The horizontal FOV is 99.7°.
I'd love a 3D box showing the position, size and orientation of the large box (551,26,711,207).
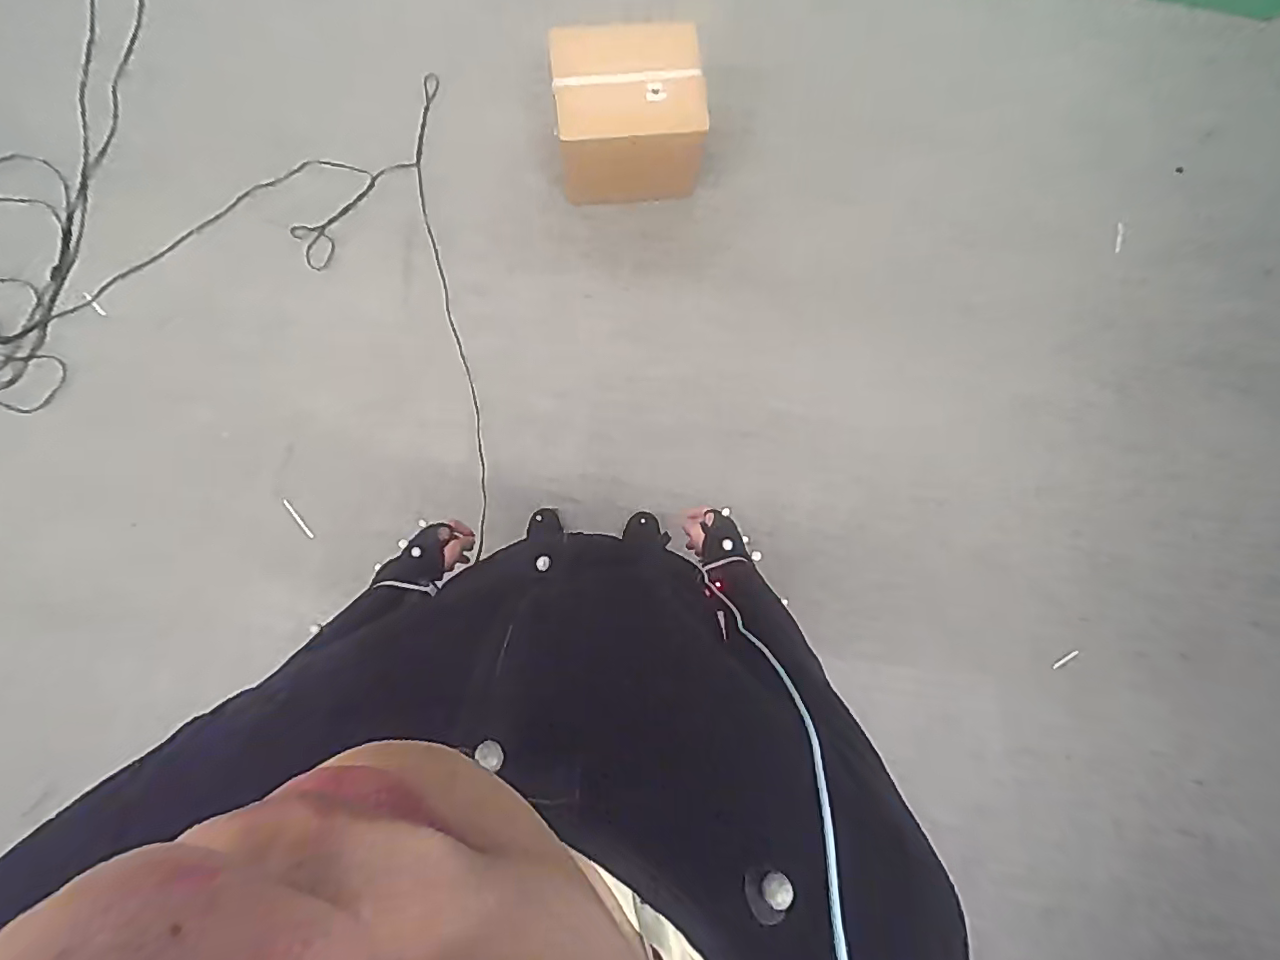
[{"bbox_3d":[-0.035,-1.049,1.593,0.408,0.320,0.320,-6,87,-4],"label":"large box"}]
